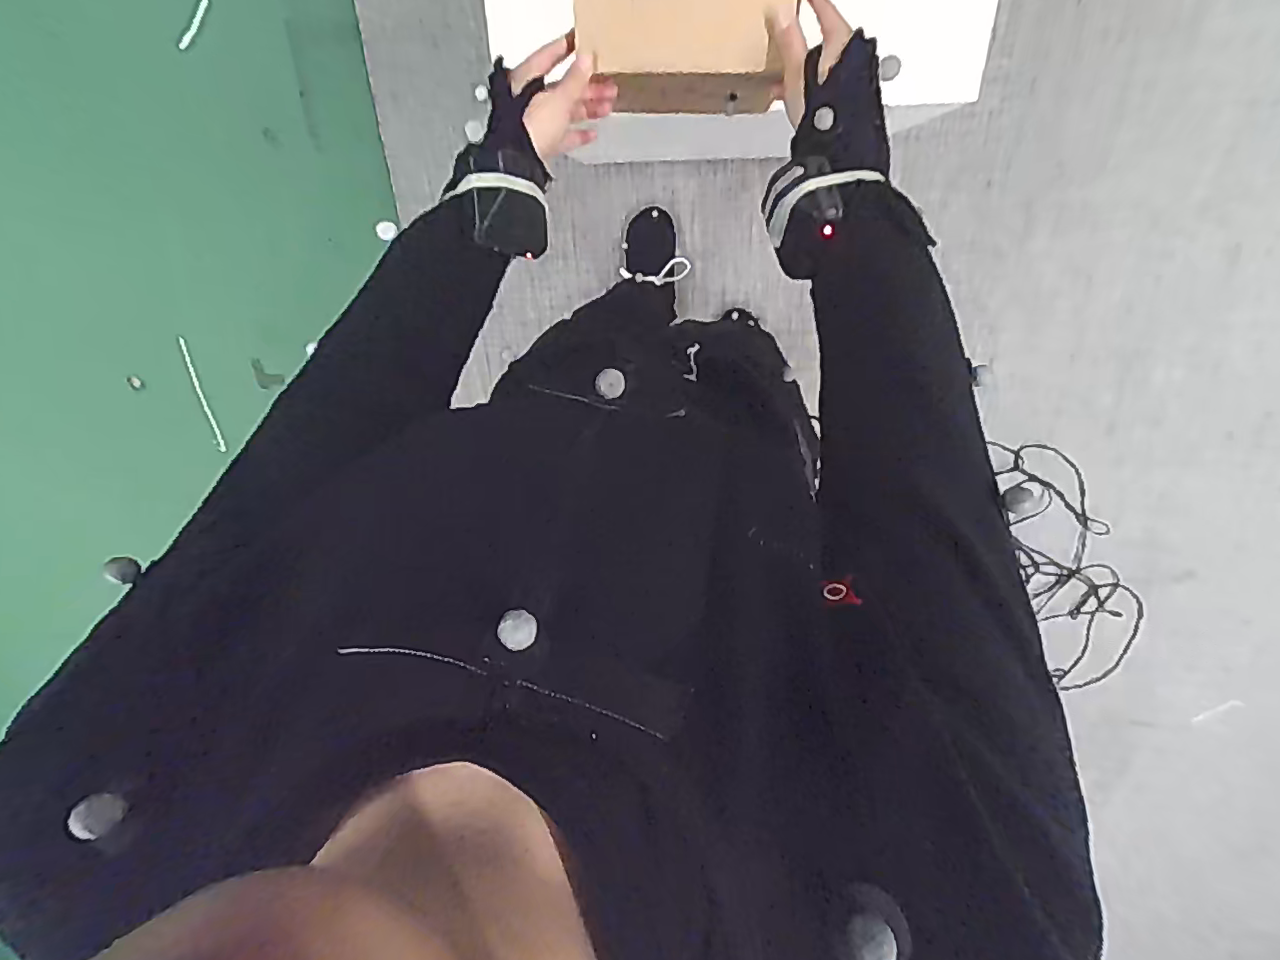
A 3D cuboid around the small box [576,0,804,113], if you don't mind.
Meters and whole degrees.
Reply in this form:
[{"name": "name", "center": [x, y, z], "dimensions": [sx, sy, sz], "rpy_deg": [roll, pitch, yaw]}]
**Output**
[{"name": "small box", "center": [0.043, -0.432, 0.468], "dimensions": [0.179, 0.176, 0.168], "rpy_deg": [2, 115, 5]}]
